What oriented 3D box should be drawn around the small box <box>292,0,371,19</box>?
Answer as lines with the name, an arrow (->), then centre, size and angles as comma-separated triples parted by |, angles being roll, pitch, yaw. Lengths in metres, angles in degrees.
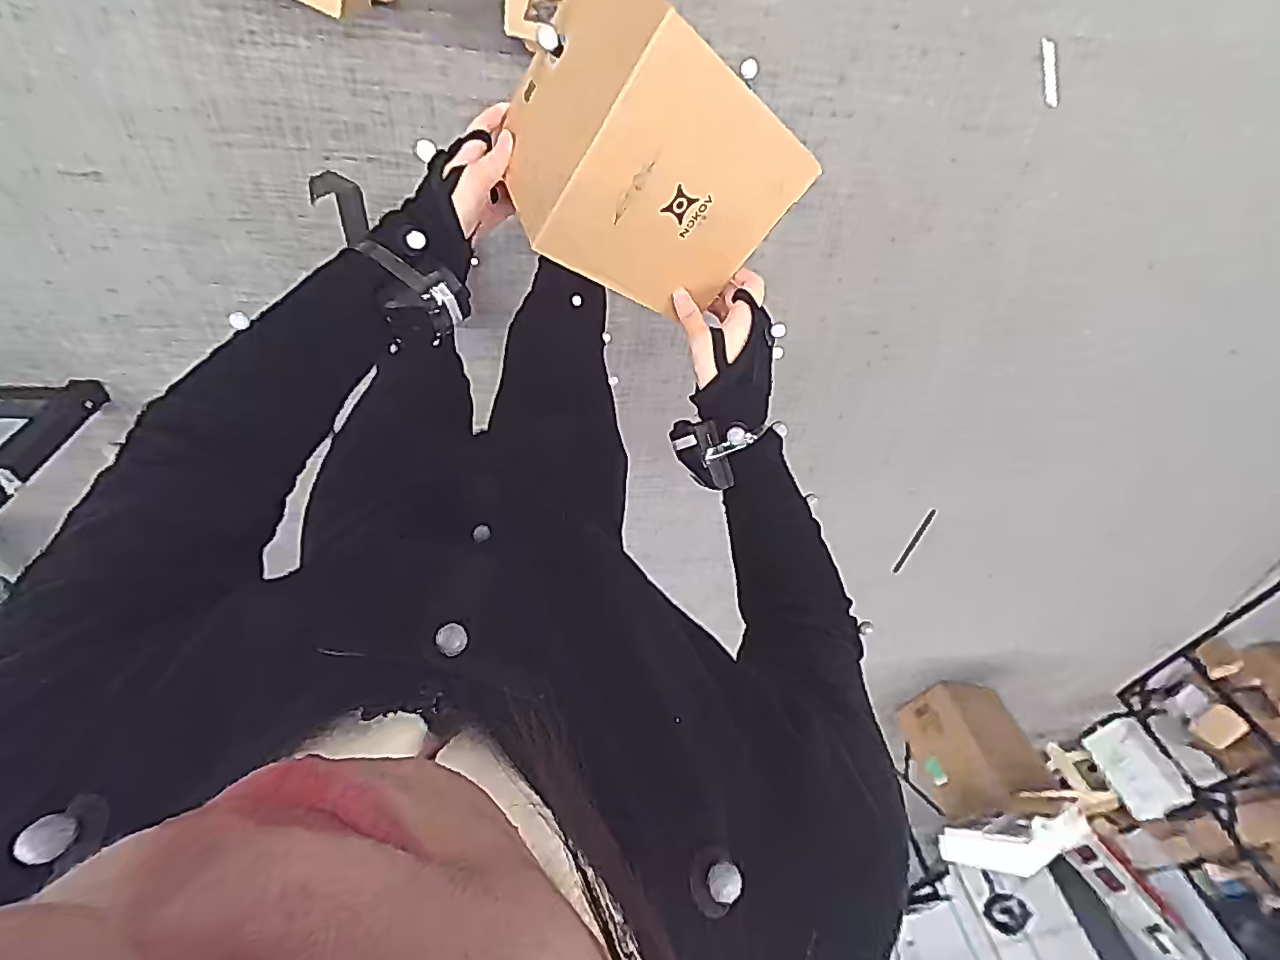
small box -> -0.416, -0.676, 0.624 | 0.179, 0.176, 0.168 | 13, 130, -22

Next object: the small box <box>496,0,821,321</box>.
small box -> 0.006, -0.270, 0.447 | 0.179, 0.176, 0.168 | 12, 133, -42

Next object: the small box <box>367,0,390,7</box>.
small box -> -0.440, -0.787, 0.745 | 0.179, 0.176, 0.168 | 2, 132, -15
